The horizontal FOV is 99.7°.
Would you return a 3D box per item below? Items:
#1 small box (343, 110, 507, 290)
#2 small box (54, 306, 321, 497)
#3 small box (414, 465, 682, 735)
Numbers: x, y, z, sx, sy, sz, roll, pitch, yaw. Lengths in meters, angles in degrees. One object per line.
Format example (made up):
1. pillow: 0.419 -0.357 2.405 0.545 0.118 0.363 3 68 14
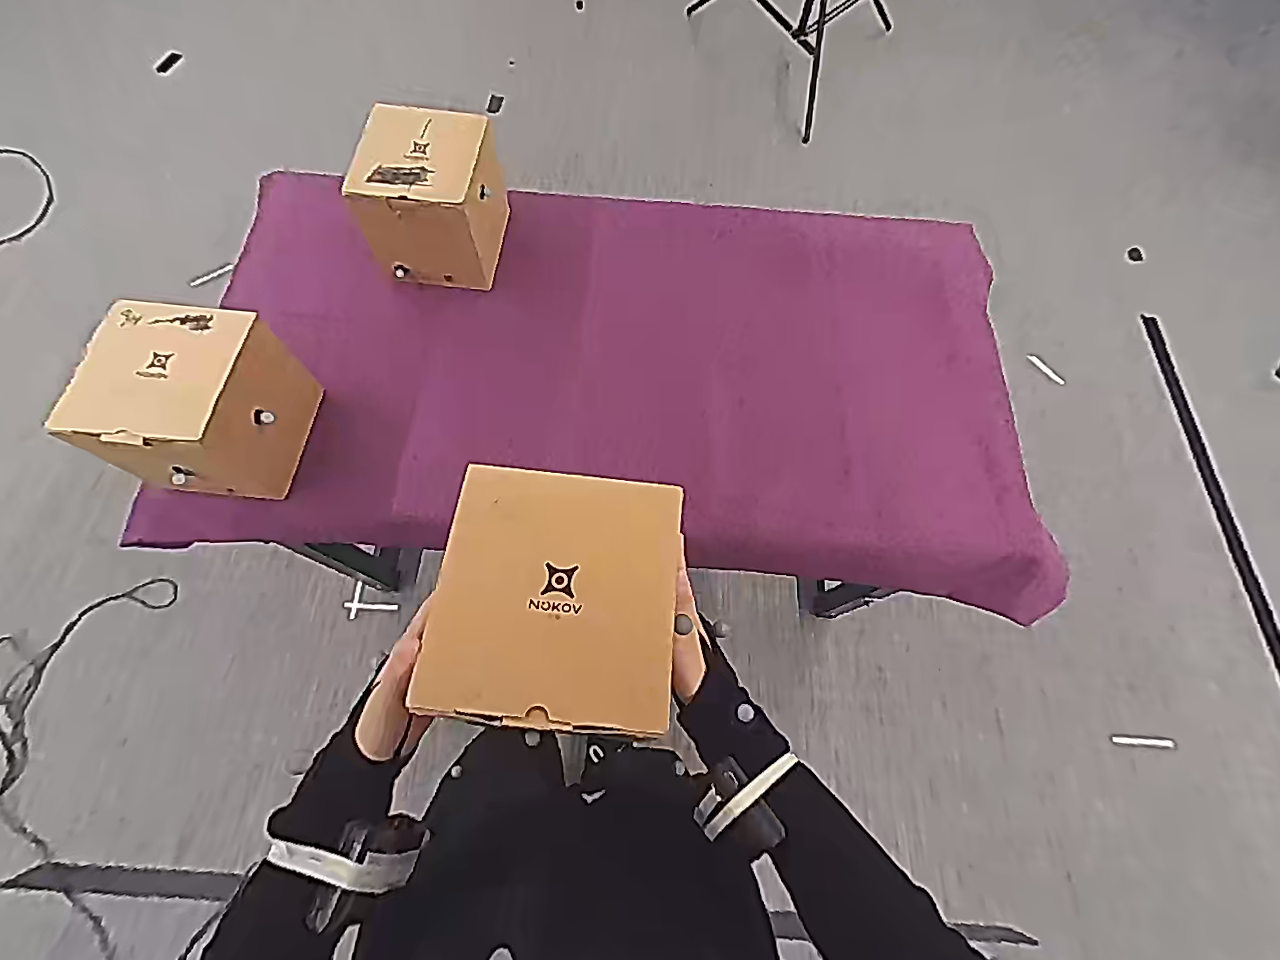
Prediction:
1. small box: -0.309 -0.415 0.822 0.168 0.176 0.179 6 68 -1
2. small box: -0.538 -0.088 0.677 0.168 0.176 0.179 5 68 -1
3. small box: -0.063 0.109 0.453 0.168 0.176 0.179 7 65 -2
